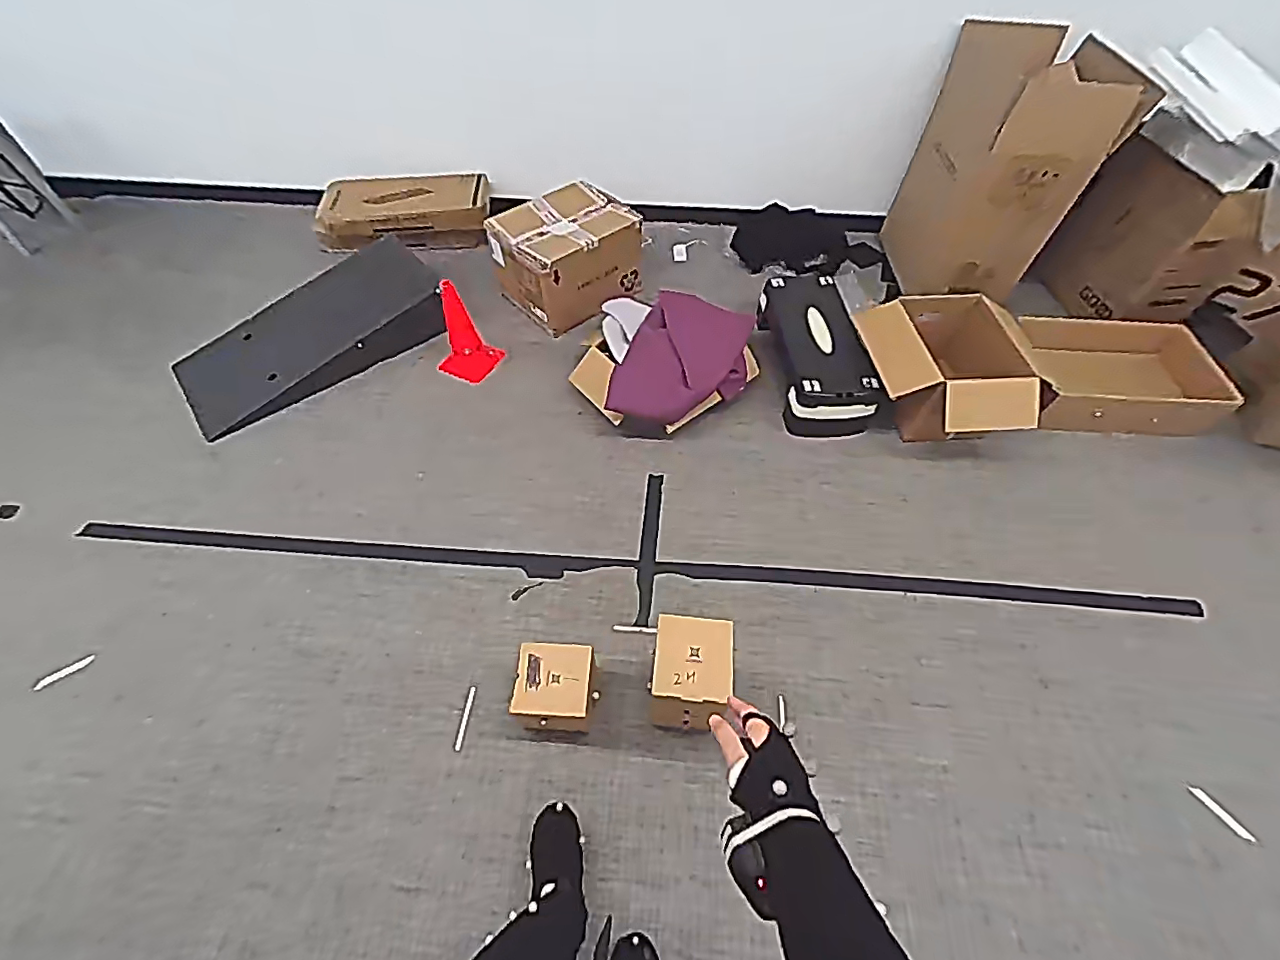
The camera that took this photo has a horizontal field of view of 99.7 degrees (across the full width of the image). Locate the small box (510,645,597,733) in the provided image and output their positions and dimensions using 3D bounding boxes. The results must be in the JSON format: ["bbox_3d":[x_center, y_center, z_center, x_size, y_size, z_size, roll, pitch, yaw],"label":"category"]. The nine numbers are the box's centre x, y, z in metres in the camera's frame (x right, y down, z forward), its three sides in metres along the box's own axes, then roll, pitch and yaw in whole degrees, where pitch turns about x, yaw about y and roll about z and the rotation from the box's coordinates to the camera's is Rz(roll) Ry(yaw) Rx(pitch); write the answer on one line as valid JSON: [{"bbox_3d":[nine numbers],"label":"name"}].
[{"bbox_3d":[-0.206,0.518,1.334,0.179,0.176,0.168,3,55,1],"label":"small box"}]

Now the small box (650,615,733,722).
[{"bbox_3d":[0.111,0.420,1.203,0.168,0.176,0.179,5,55,4],"label":"small box"}]

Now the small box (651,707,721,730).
[{"bbox_3d":[0.115,0.511,1.343,0.168,0.176,0.179,3,55,3],"label":"small box"}]
